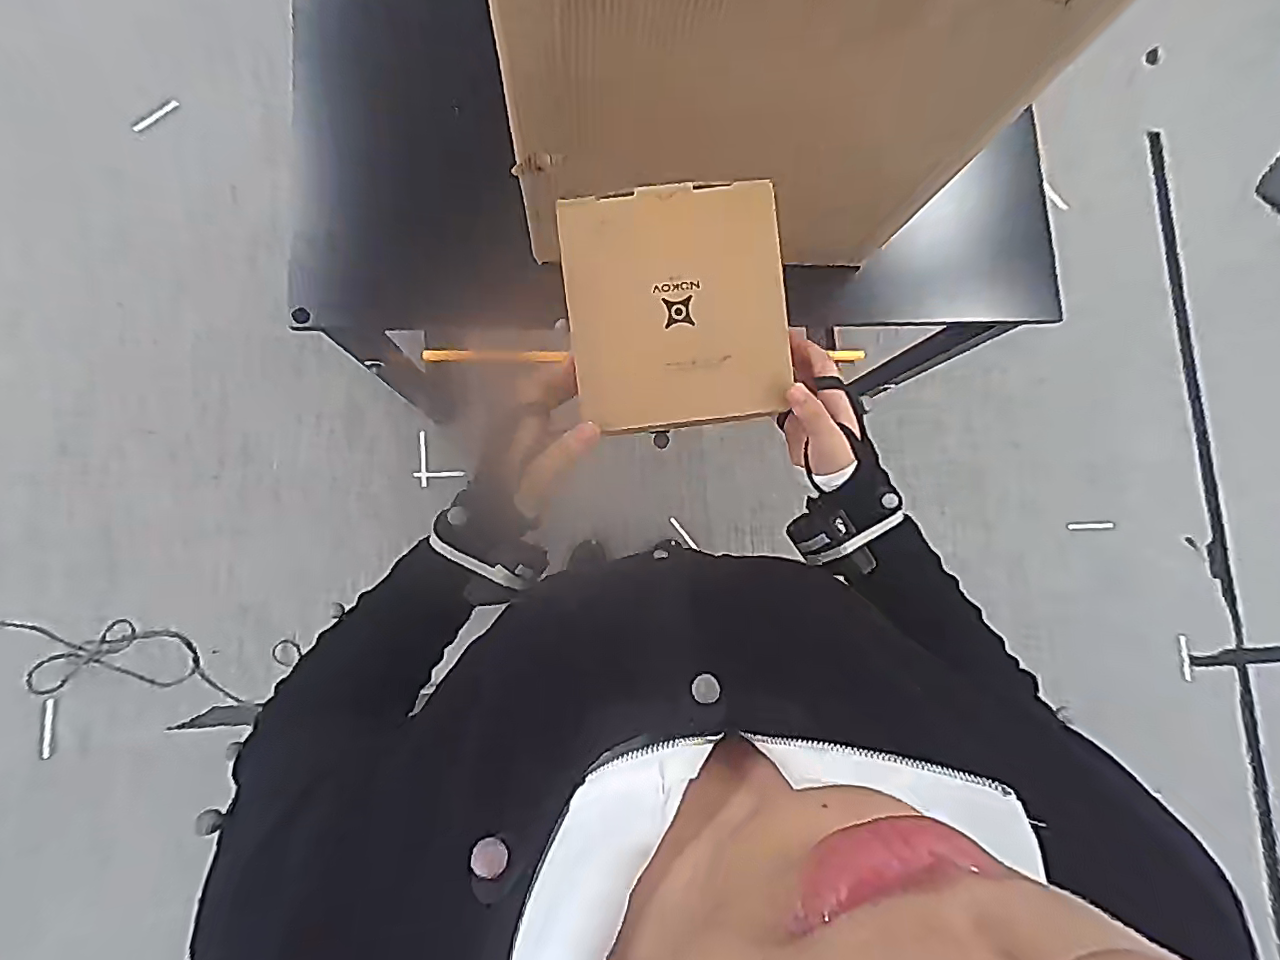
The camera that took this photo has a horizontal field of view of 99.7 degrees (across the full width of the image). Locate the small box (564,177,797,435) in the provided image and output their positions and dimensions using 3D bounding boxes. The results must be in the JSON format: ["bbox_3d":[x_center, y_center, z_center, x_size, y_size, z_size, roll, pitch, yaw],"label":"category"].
[{"bbox_3d":[0.028,-0.139,0.492,0.168,0.176,0.179,-8,93,-2],"label":"small box"}]
